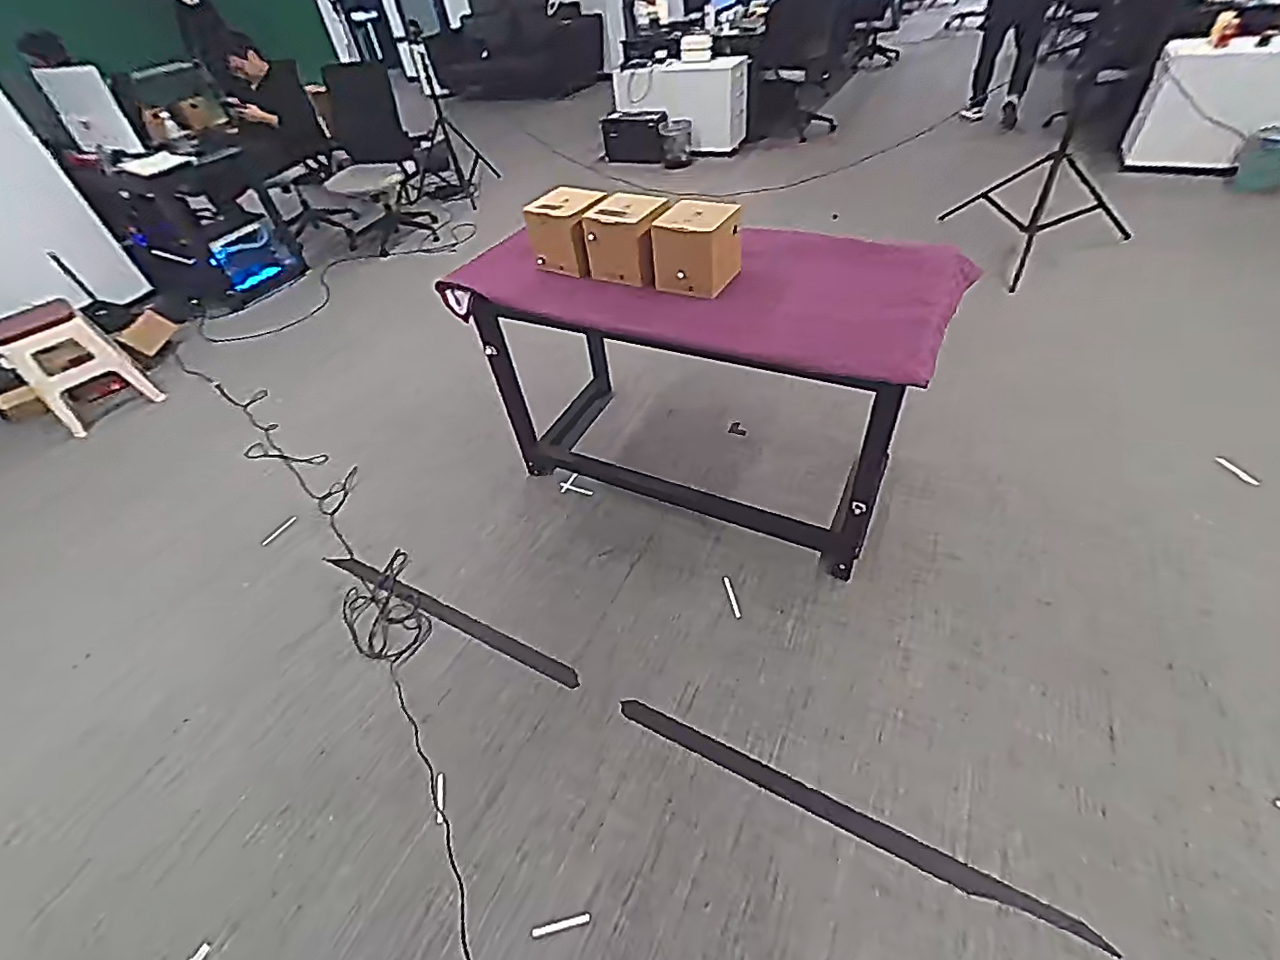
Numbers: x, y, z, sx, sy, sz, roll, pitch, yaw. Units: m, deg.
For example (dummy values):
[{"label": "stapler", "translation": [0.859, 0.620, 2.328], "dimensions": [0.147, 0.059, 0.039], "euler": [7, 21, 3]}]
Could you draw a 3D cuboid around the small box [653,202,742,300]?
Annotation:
[{"label": "small box", "translation": [0.148, -0.583, 1.375], "dimensions": [0.168, 0.176, 0.179], "euler": [19, 51, 26]}]
